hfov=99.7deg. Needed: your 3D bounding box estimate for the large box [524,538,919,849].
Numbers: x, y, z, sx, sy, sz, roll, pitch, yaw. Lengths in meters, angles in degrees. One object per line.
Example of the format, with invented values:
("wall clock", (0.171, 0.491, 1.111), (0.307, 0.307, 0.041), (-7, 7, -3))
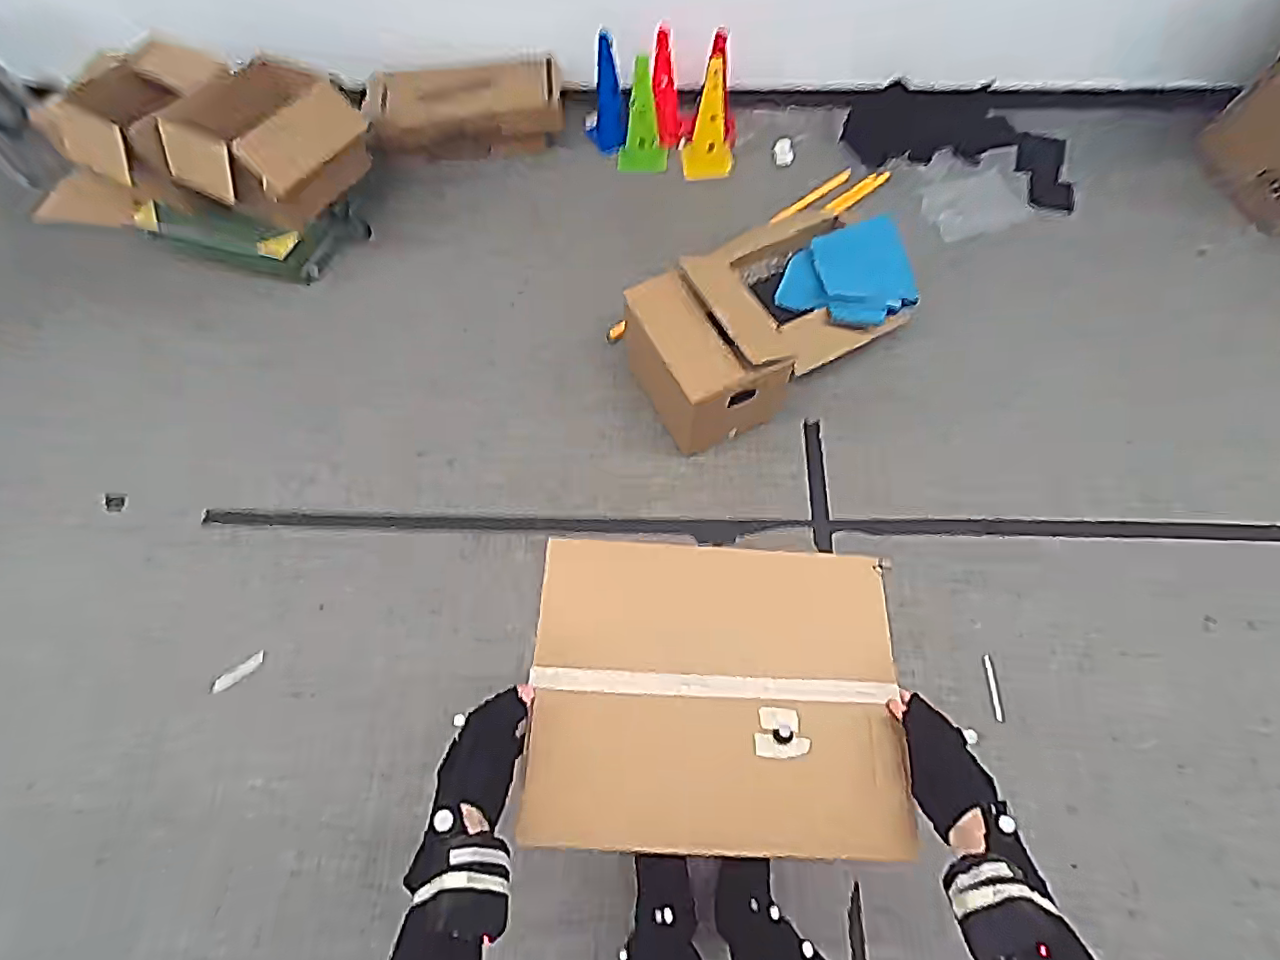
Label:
("large box", (0.076, 0.280, 0.726), (0.408, 0.320, 0.320), (4, 66, -3))
